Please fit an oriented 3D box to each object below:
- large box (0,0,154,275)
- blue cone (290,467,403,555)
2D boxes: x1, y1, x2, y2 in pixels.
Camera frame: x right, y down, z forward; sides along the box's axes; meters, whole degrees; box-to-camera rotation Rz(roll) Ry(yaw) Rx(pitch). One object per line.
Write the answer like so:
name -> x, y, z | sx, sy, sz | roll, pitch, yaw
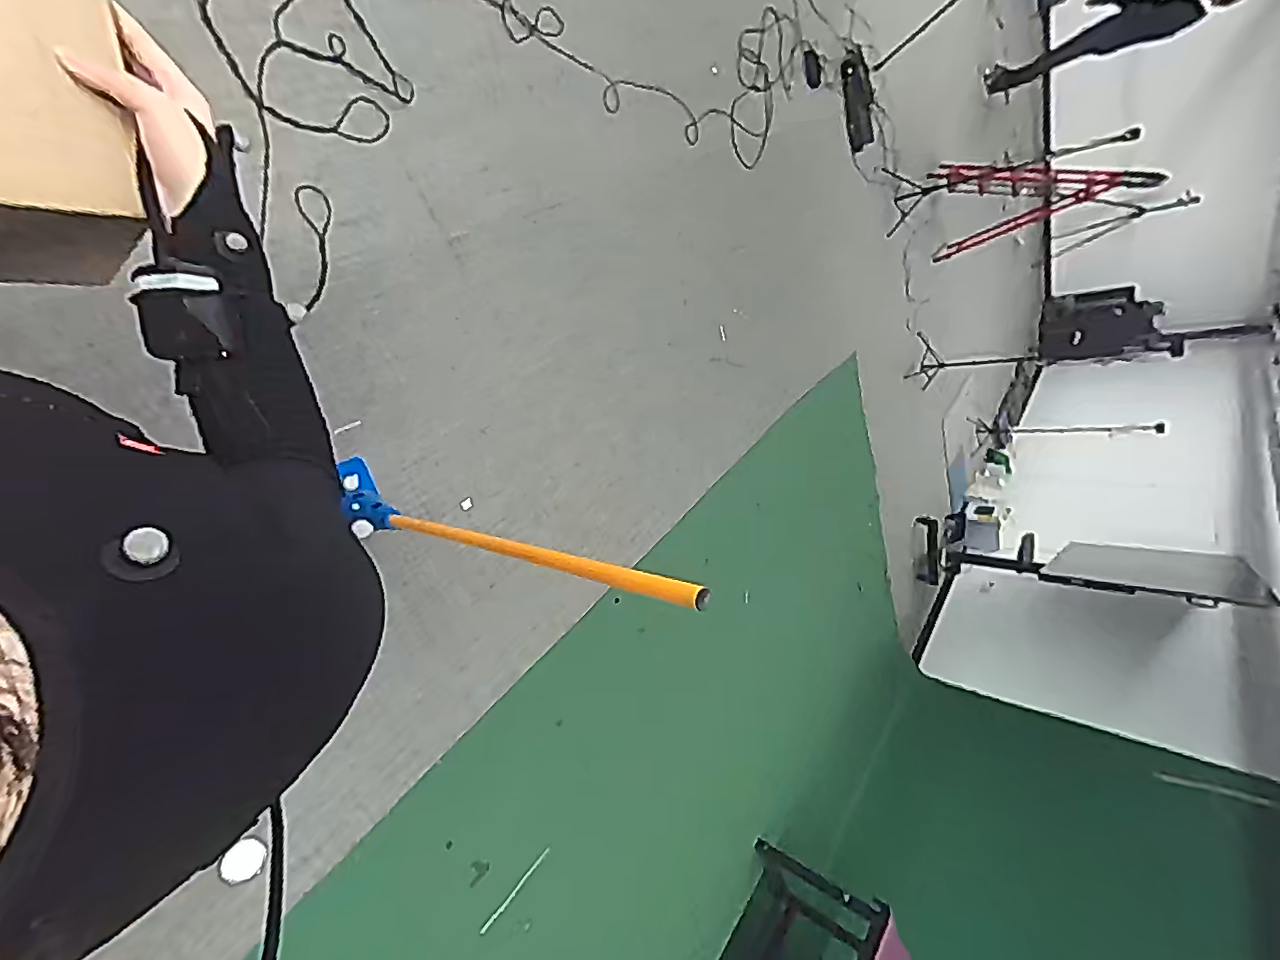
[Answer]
large box -> -0.611, -0.318, 0.317 | 0.408, 0.320, 0.320 | -17, 108, -48
blue cone -> -0.664, 0.087, 1.289 | 0.193, 0.380, 0.192 | -31, 116, -41
